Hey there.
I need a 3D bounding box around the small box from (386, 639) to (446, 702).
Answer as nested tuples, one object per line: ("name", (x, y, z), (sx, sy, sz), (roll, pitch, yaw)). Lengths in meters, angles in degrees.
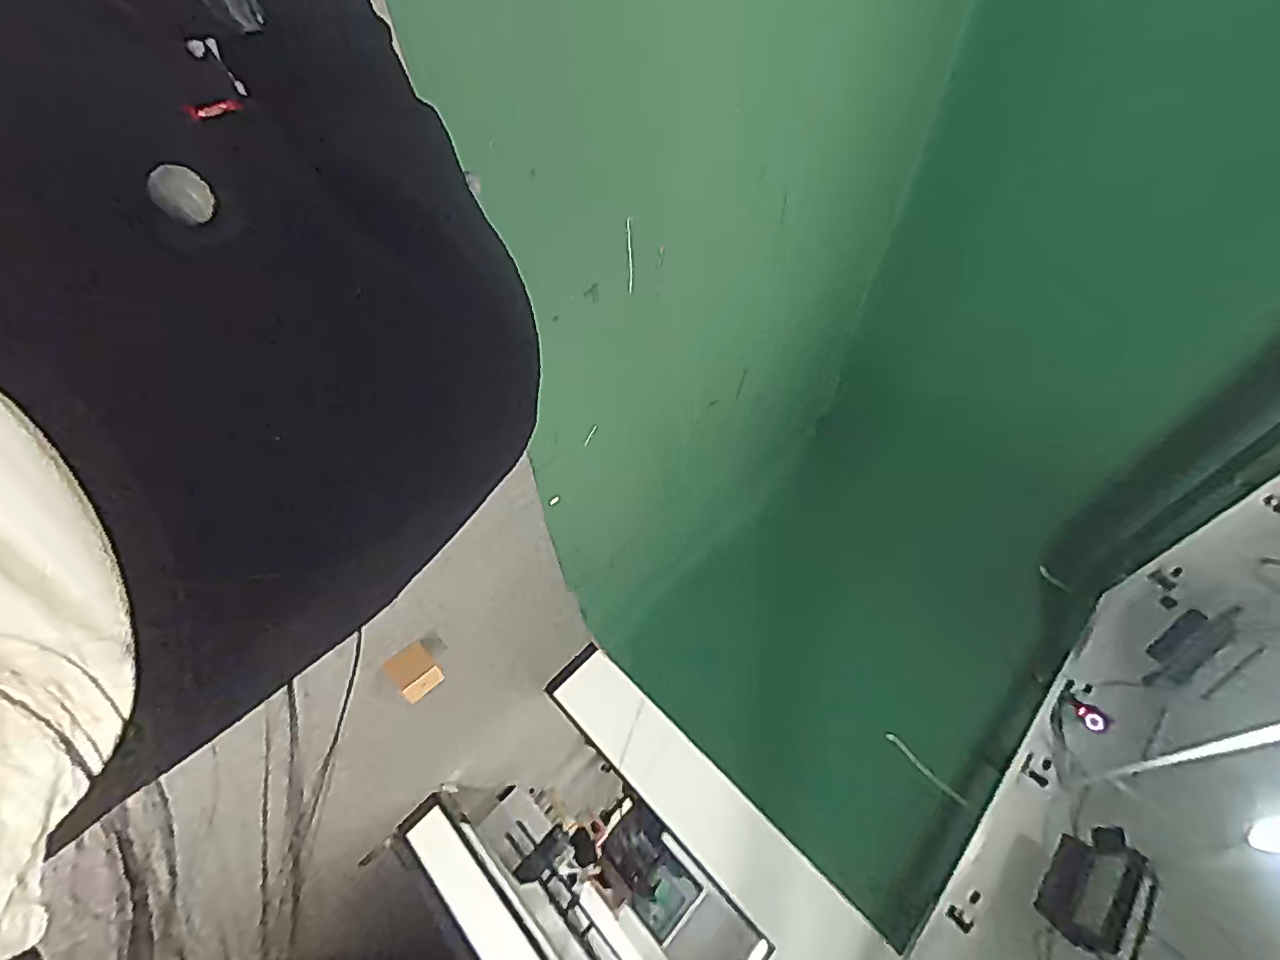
("small box", (-1.019, 0.859, 2.448), (0.179, 0.176, 0.168), (-39, 152, -28))
